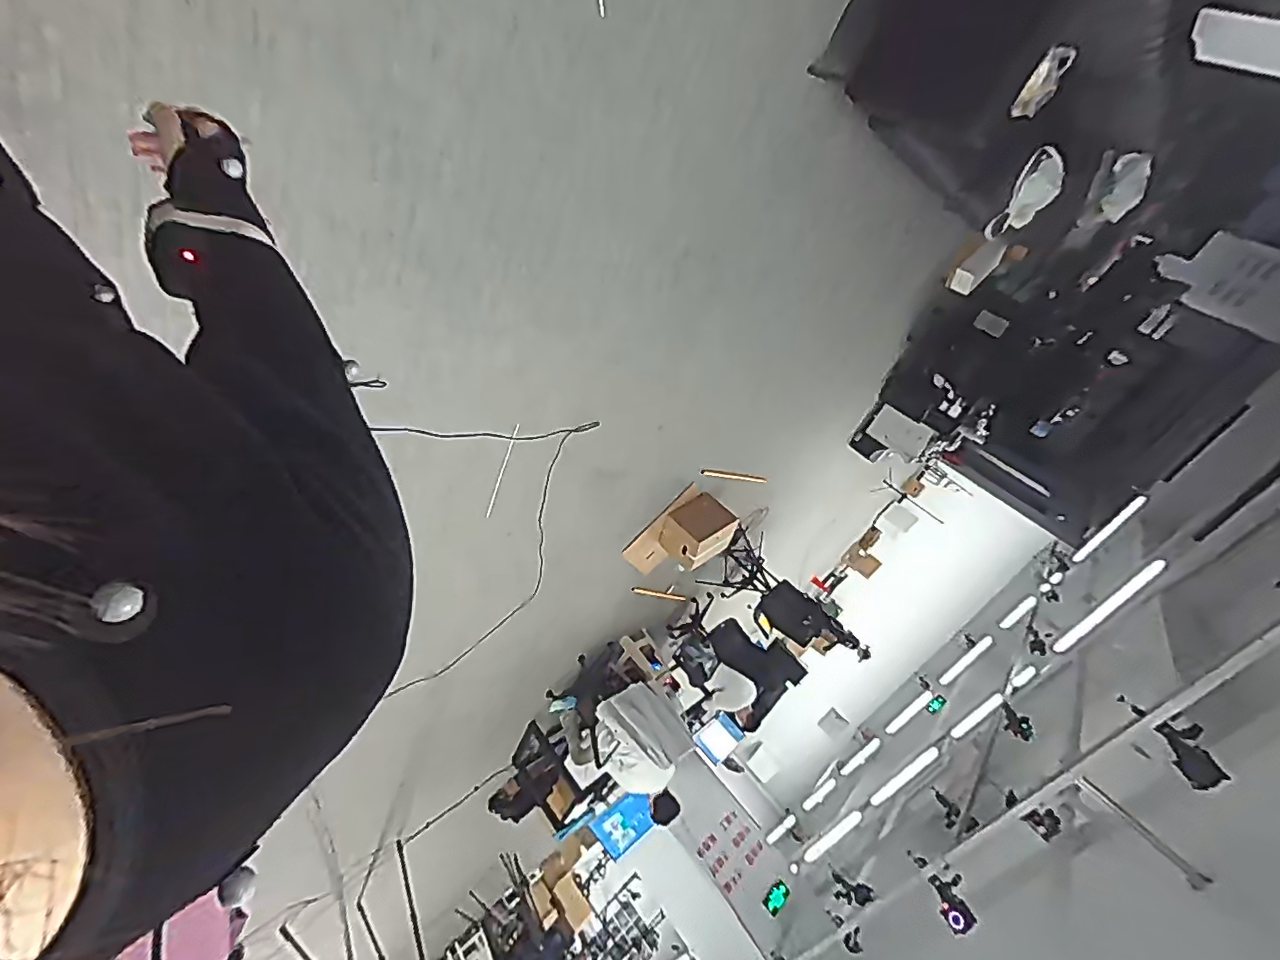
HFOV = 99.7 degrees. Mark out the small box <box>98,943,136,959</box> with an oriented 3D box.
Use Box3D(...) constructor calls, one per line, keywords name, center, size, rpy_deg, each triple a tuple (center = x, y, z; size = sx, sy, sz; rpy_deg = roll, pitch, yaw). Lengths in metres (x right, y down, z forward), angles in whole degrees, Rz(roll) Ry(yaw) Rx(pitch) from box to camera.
Box3D(name="small box", center=(-1.228, 1.199, 1.200), size=(0.179, 0.176, 0.168), rpy_deg=(-11, 137, -47))
